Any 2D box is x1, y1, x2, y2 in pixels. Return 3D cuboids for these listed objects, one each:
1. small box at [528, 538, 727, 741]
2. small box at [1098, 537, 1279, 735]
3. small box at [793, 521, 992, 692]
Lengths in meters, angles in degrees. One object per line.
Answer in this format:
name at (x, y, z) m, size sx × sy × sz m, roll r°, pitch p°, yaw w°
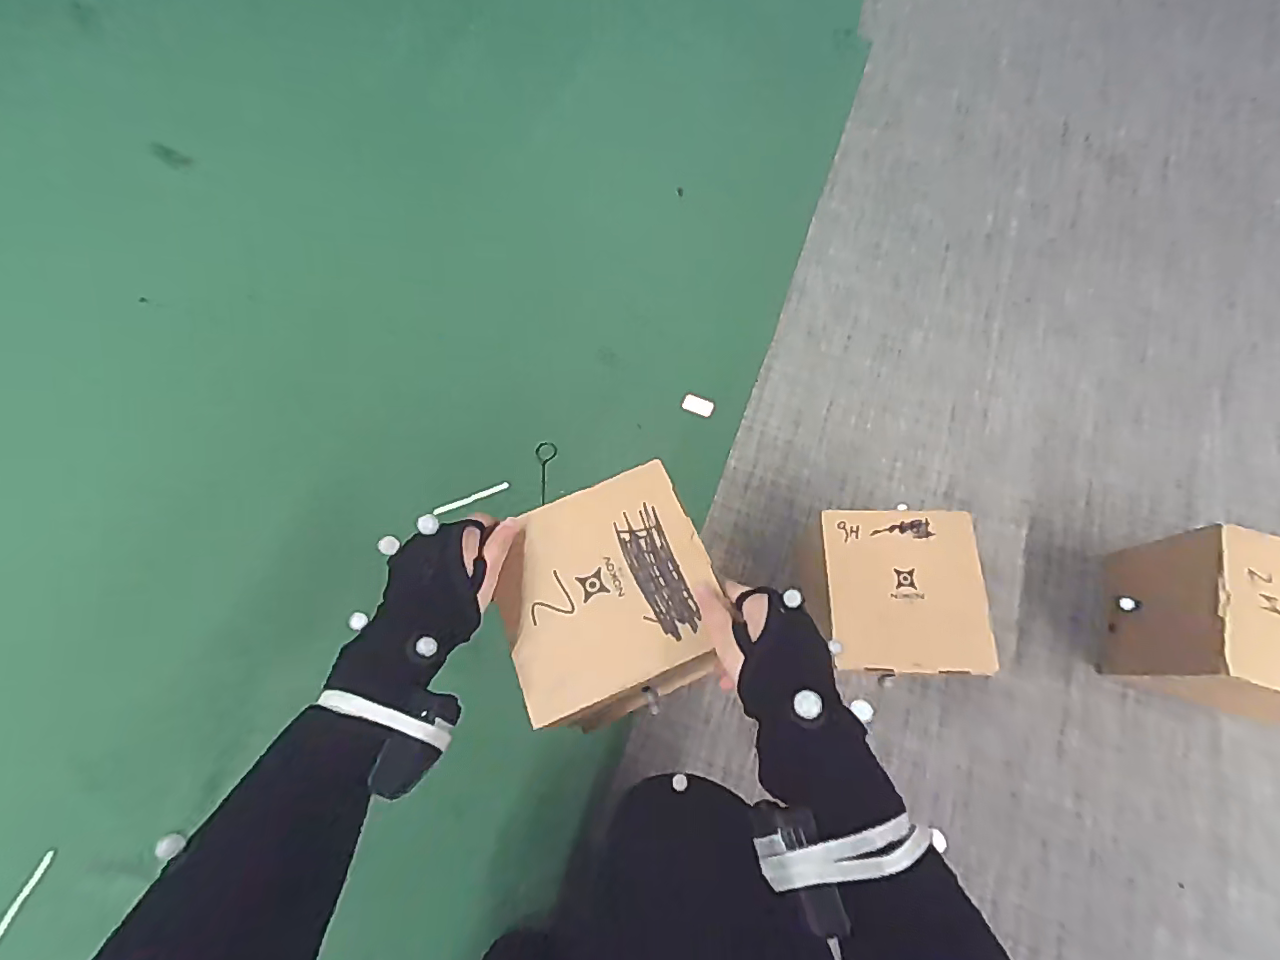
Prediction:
small box at (-0.011, 0.198, 0.659) m, size 0.179 × 0.176 × 0.168 m, roll -24°, pitch 68°, yaw -6°
small box at (0.681, 0.184, 0.617) m, size 0.179 × 0.176 × 0.168 m, roll 17°, pitch 70°, yaw 8°
small box at (0.286, 0.157, 0.655) m, size 0.168 × 0.176 × 0.179 m, roll 1°, pitch 70°, yaw 4°
